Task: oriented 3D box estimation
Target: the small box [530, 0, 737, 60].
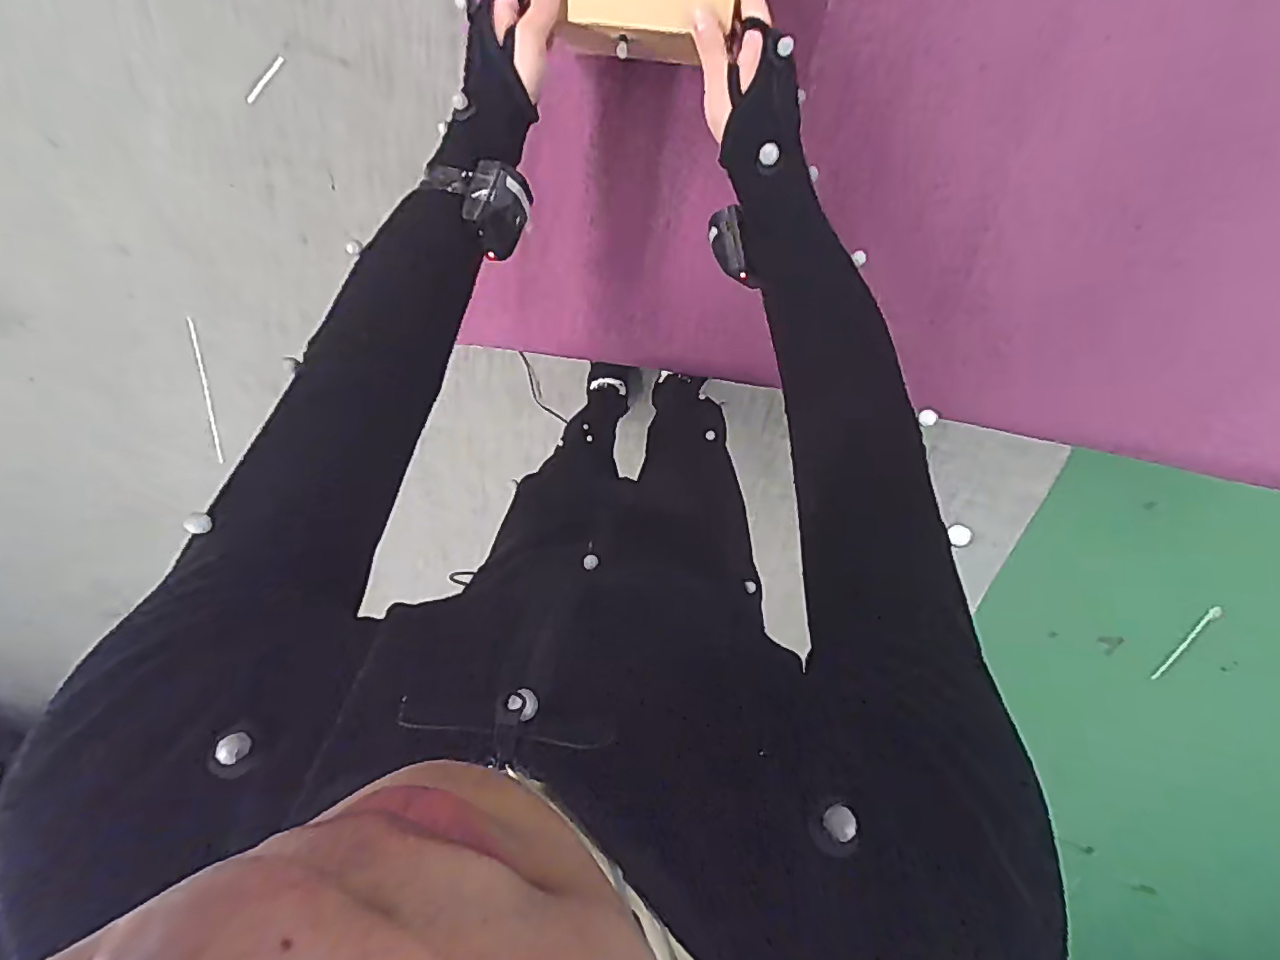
[{"bbox_3d":[0.008,-0.497,0.486,0.179,0.176,0.168,8,122,2],"label":"small box"}]
